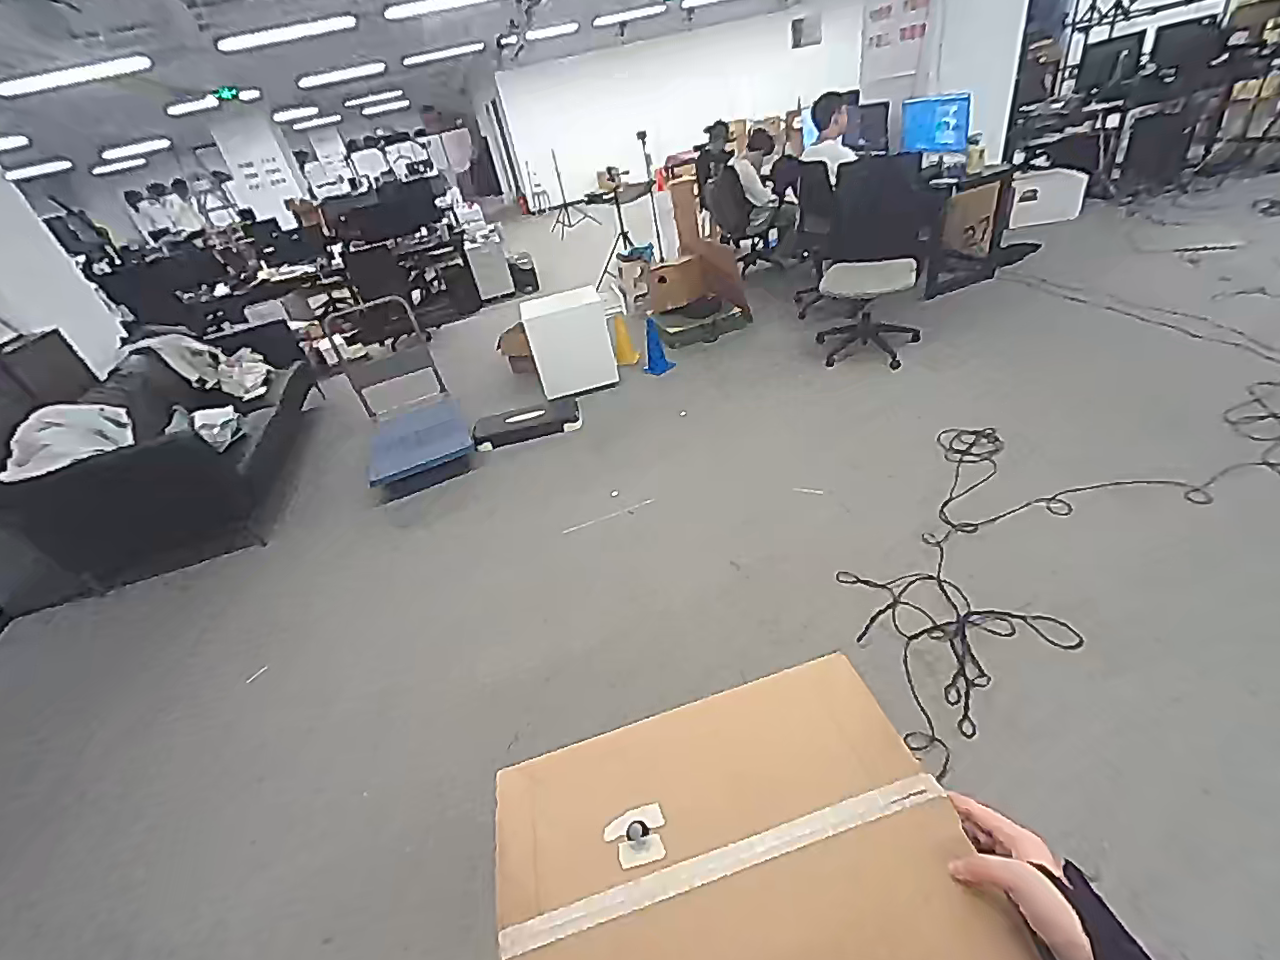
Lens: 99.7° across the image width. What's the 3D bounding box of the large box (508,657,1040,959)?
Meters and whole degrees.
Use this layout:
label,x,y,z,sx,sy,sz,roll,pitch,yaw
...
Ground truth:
label,x,y,z,sx,sy,sz,roll,pitch,yaw
large box,0.114,0.461,0.571,0.408,0.320,0.320,-19,35,-2
